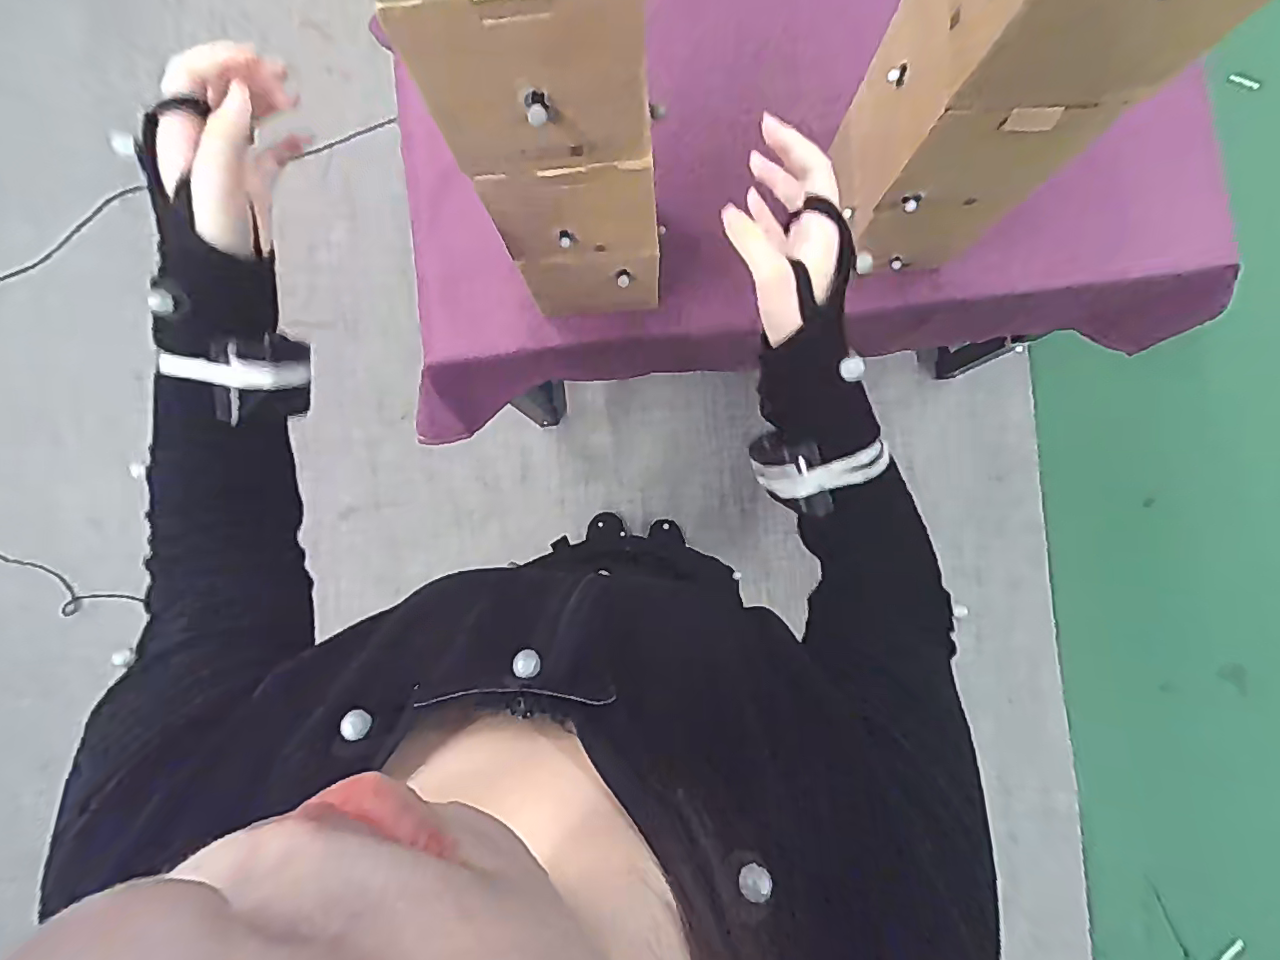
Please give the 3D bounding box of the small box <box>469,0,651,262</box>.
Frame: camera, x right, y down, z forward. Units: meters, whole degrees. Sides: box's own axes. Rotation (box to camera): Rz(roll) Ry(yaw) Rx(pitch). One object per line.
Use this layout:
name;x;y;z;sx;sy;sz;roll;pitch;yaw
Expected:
small box;-0.075;-0.356;0.572;0.168;0.176;0.179;-3;87;1

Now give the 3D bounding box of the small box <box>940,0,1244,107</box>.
small box;0.344;-0.408;0.395;0.179;0.176;0.168;0;88;2

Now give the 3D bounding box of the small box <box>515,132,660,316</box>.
small box;-0.066;-0.336;0.734;0.179;0.176;0.168;-4;85;2

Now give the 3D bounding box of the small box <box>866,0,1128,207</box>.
small box;0.347;-0.405;0.558;0.168;0.176;0.179;-1;86;2

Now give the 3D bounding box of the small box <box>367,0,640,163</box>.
small box;-0.089;-0.369;0.408;0.168;0.176;0.179;-5;87;1
